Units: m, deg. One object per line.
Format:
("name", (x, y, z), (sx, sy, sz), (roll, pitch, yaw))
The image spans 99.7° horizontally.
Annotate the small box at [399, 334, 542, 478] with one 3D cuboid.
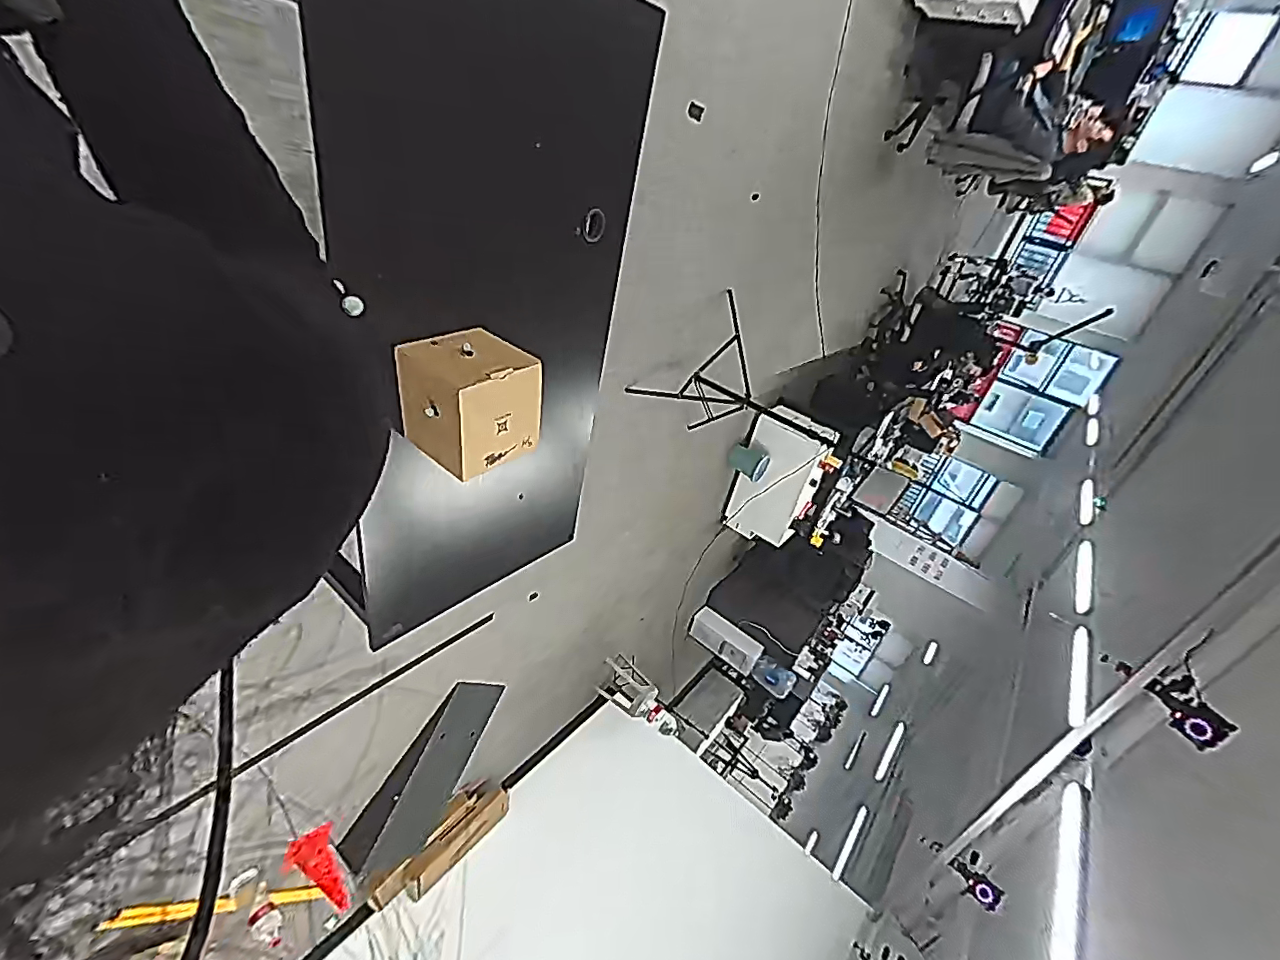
("small box", (-0.287, -0.137, 0.922), (0.168, 0.176, 0.179), (-32, 142, -43))
